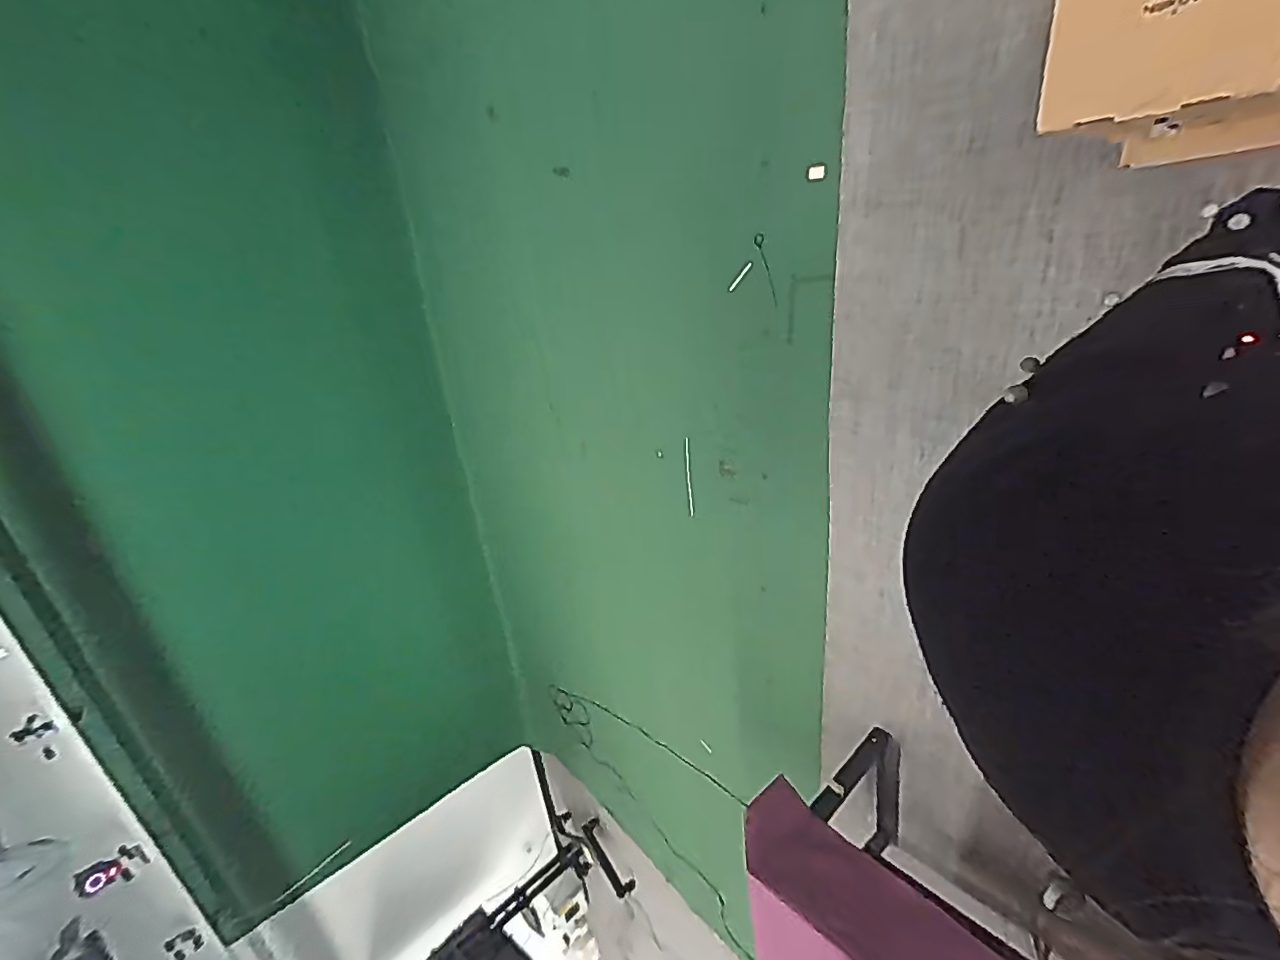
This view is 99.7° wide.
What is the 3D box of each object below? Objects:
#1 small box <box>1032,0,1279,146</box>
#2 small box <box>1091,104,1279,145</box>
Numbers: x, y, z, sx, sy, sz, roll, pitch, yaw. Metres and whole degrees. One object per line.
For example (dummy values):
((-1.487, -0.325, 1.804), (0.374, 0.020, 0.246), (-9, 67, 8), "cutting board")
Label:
((0.497, -0.422, 0.496), (0.168, 0.176, 0.179), (20, 126, 44), "small box")
((0.618, -0.482, 0.589), (0.168, 0.176, 0.179), (19, 124, 45), "small box")
